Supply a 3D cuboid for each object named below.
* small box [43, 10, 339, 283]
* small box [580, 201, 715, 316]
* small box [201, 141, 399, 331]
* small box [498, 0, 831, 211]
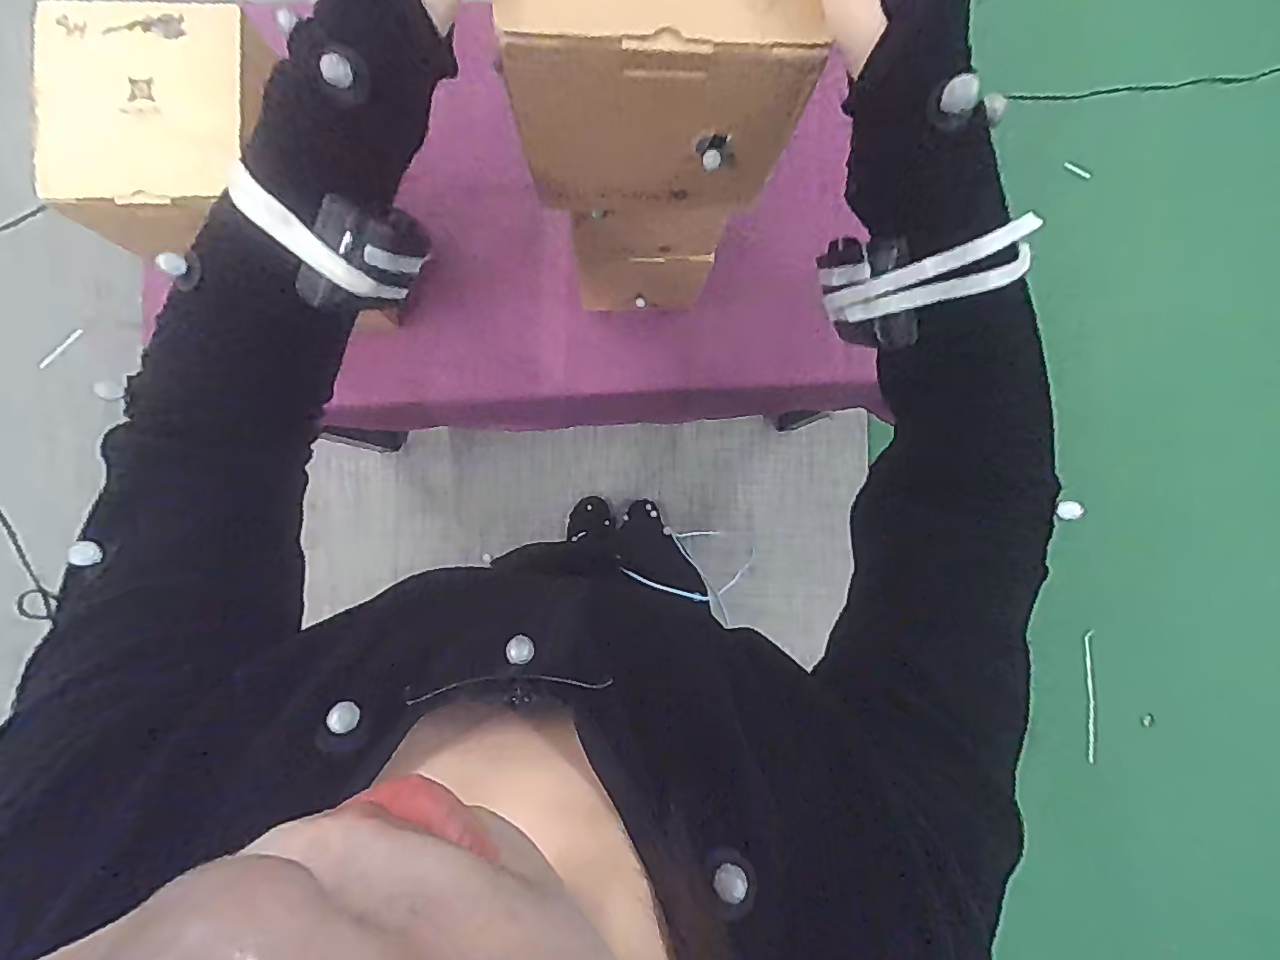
[{"bbox_3d":[-0.422,-0.310,0.539,0.168,0.176,0.179,-2,88,-5],"label":"small box"},{"bbox_3d":[0.004,-0.338,0.730,0.168,0.176,0.179,-1,87,-3],"label":"small box"},{"bbox_3d":[-0.428,-0.301,0.703,0.168,0.176,0.179,-4,86,-4],"label":"small box"},{"bbox_3d":[0.011,-0.293,0.342,0.168,0.176,0.179,0,91,-3],"label":"small box"}]
